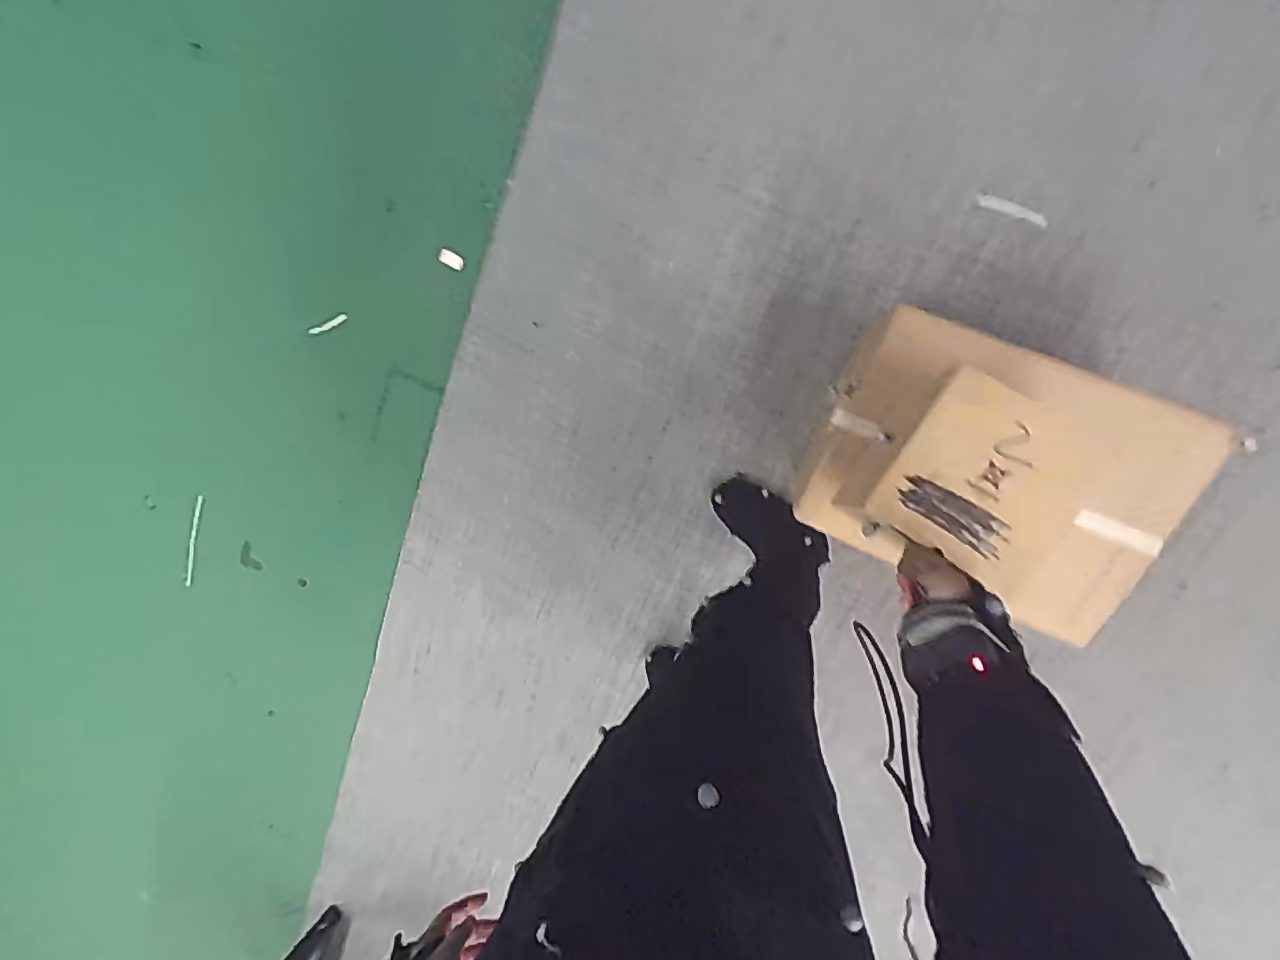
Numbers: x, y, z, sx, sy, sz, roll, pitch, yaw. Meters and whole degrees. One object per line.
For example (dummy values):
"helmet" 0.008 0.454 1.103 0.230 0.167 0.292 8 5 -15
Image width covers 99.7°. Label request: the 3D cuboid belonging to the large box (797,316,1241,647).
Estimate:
"large box" 0.491 -0.026 0.827 0.408 0.320 0.320 24 108 9
